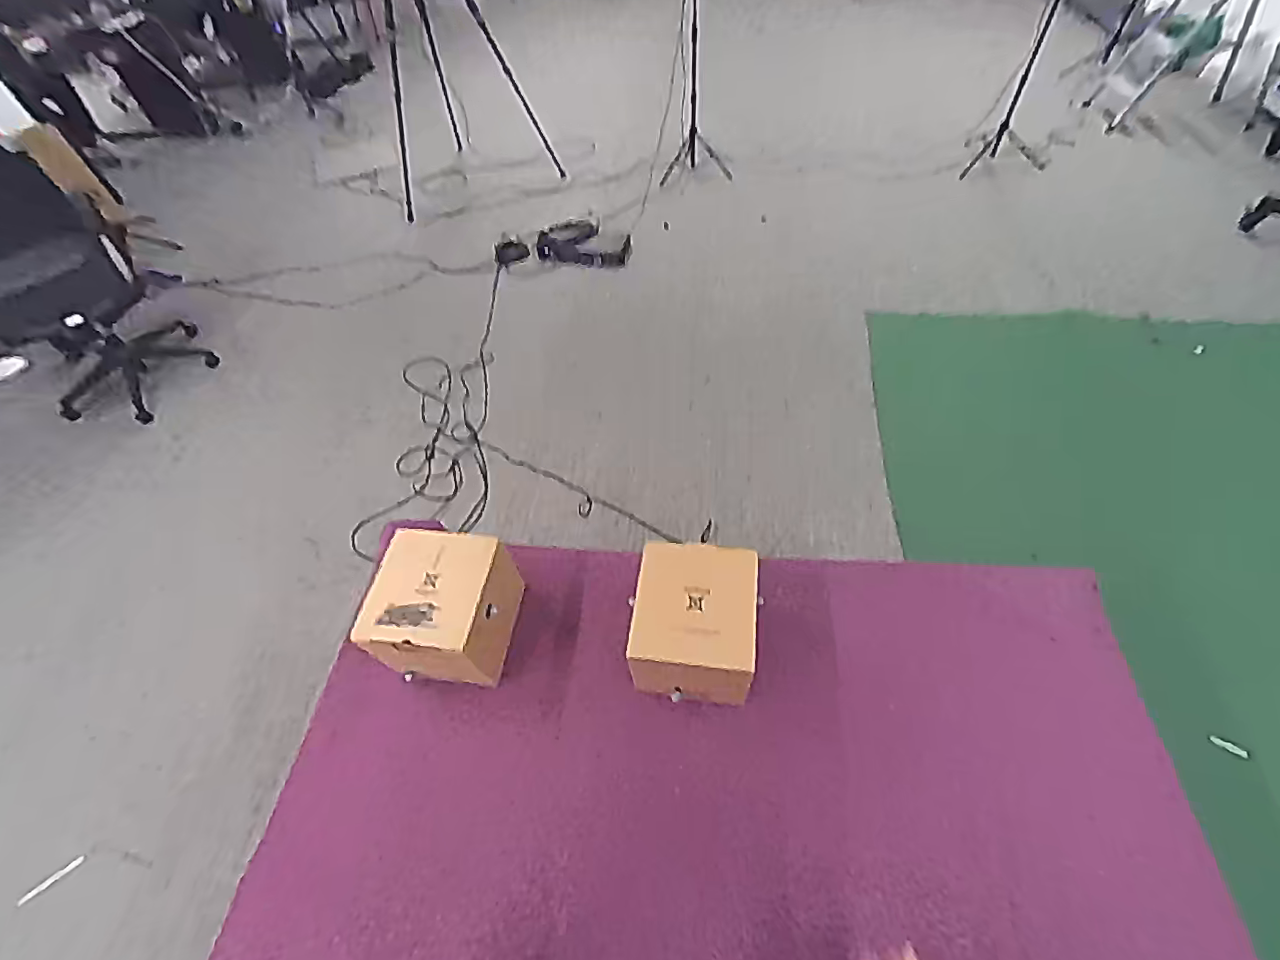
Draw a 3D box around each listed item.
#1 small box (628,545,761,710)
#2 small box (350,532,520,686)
[{"bbox_3d":[0.081,0.219,0.795,0.168,0.176,0.179,5,55,8],"label":"small box"},{"bbox_3d":[-0.295,0.201,0.826,0.168,0.176,0.179,5,55,6],"label":"small box"}]
